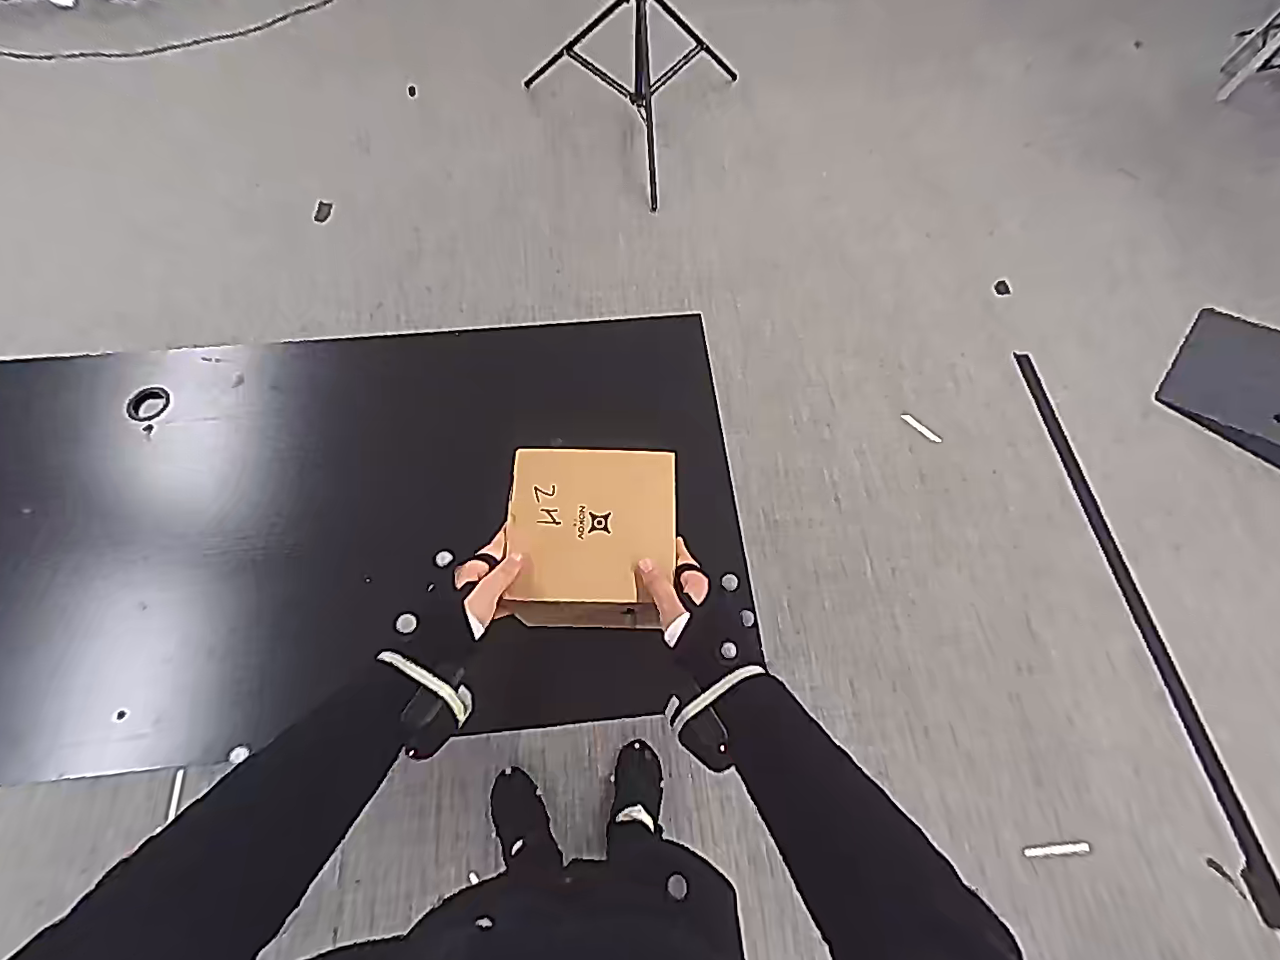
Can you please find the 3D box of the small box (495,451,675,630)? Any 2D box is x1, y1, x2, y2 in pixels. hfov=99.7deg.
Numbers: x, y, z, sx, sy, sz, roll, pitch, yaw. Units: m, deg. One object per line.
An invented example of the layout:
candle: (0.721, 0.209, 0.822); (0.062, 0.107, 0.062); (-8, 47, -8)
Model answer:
small box: (-0.055, 0.078, 0.626); (0.179, 0.176, 0.168); (1, 67, -1)
